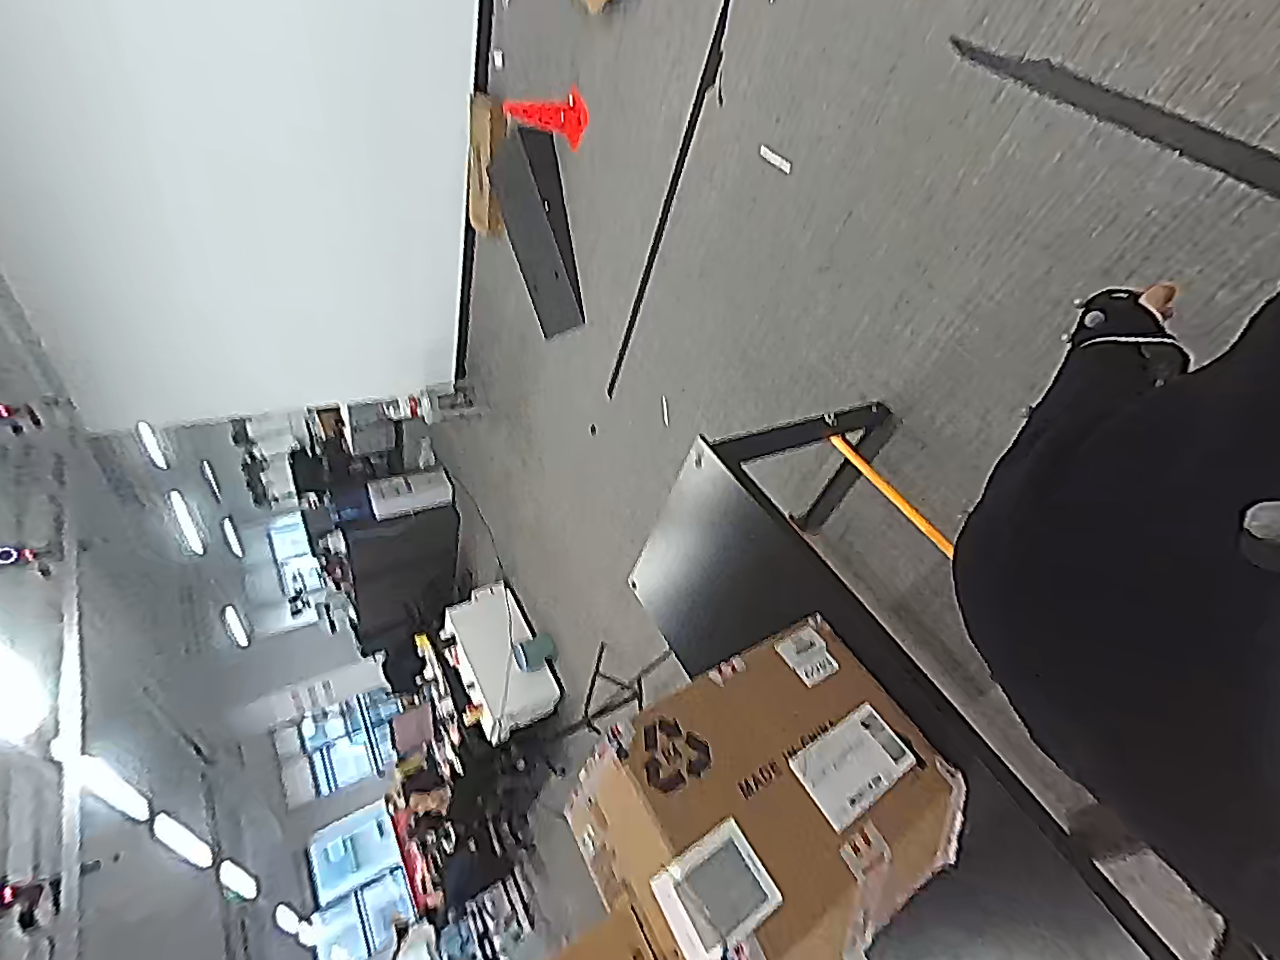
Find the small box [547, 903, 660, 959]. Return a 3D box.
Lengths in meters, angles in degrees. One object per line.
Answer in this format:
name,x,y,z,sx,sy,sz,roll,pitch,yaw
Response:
small box,-0.053,0.770,0.791,0.168,0.176,0.179,52,143,35
